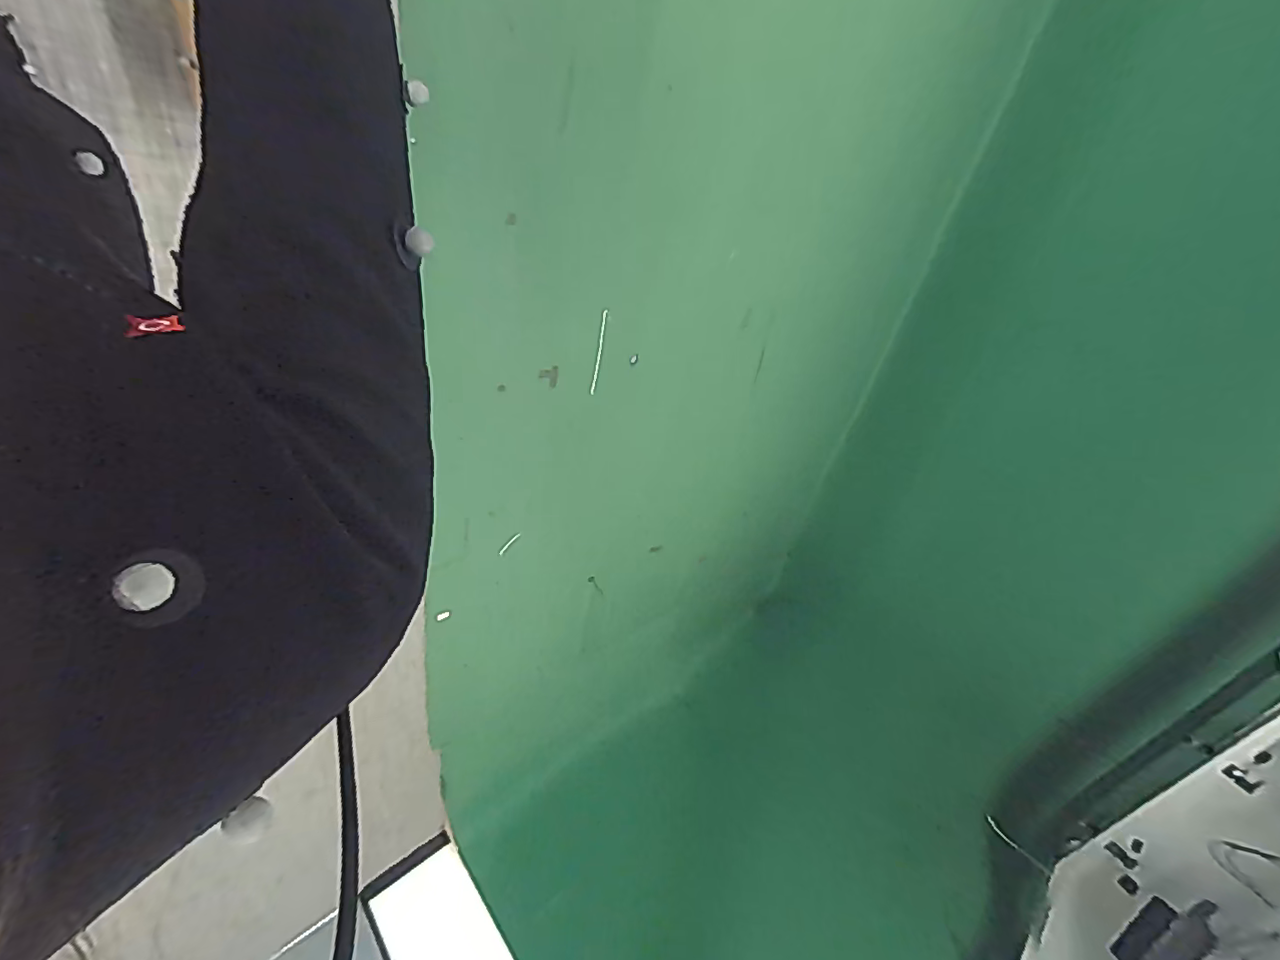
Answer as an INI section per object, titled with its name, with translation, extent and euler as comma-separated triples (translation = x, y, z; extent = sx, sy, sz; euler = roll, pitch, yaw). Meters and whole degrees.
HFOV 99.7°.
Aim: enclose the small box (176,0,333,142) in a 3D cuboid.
[small box]
translation = -0.650, -0.687, 0.913
extent = 0.179, 0.176, 0.168
euler = -21, 135, -38
